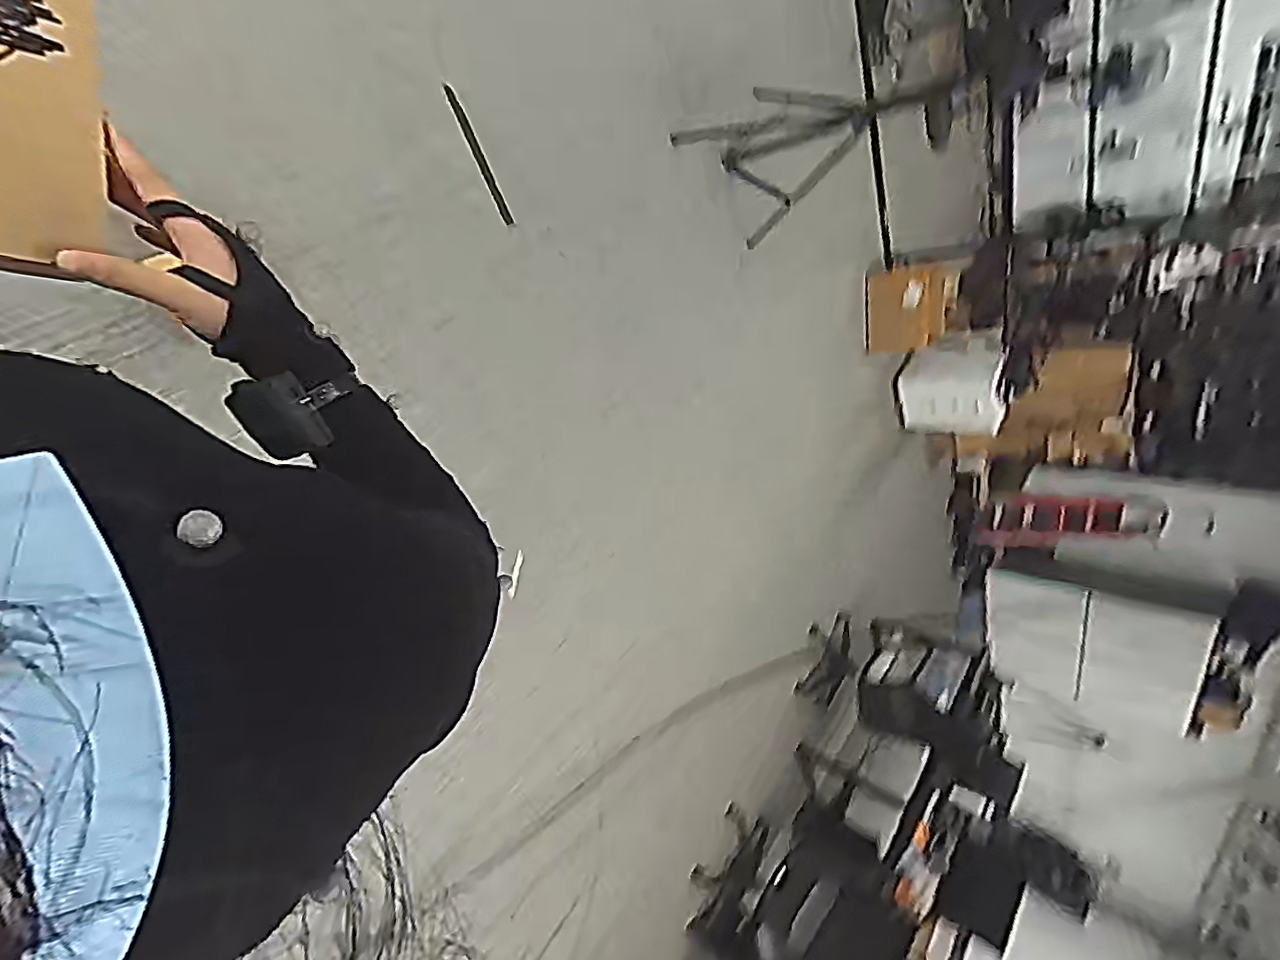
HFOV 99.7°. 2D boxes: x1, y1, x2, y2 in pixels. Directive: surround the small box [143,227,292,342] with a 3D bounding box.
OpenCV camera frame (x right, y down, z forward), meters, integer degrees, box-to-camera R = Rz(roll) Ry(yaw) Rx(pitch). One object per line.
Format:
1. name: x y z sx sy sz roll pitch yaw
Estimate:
1. small box: -0.866 -0.396 1.107 0.179 0.176 0.168 -43 126 -30
